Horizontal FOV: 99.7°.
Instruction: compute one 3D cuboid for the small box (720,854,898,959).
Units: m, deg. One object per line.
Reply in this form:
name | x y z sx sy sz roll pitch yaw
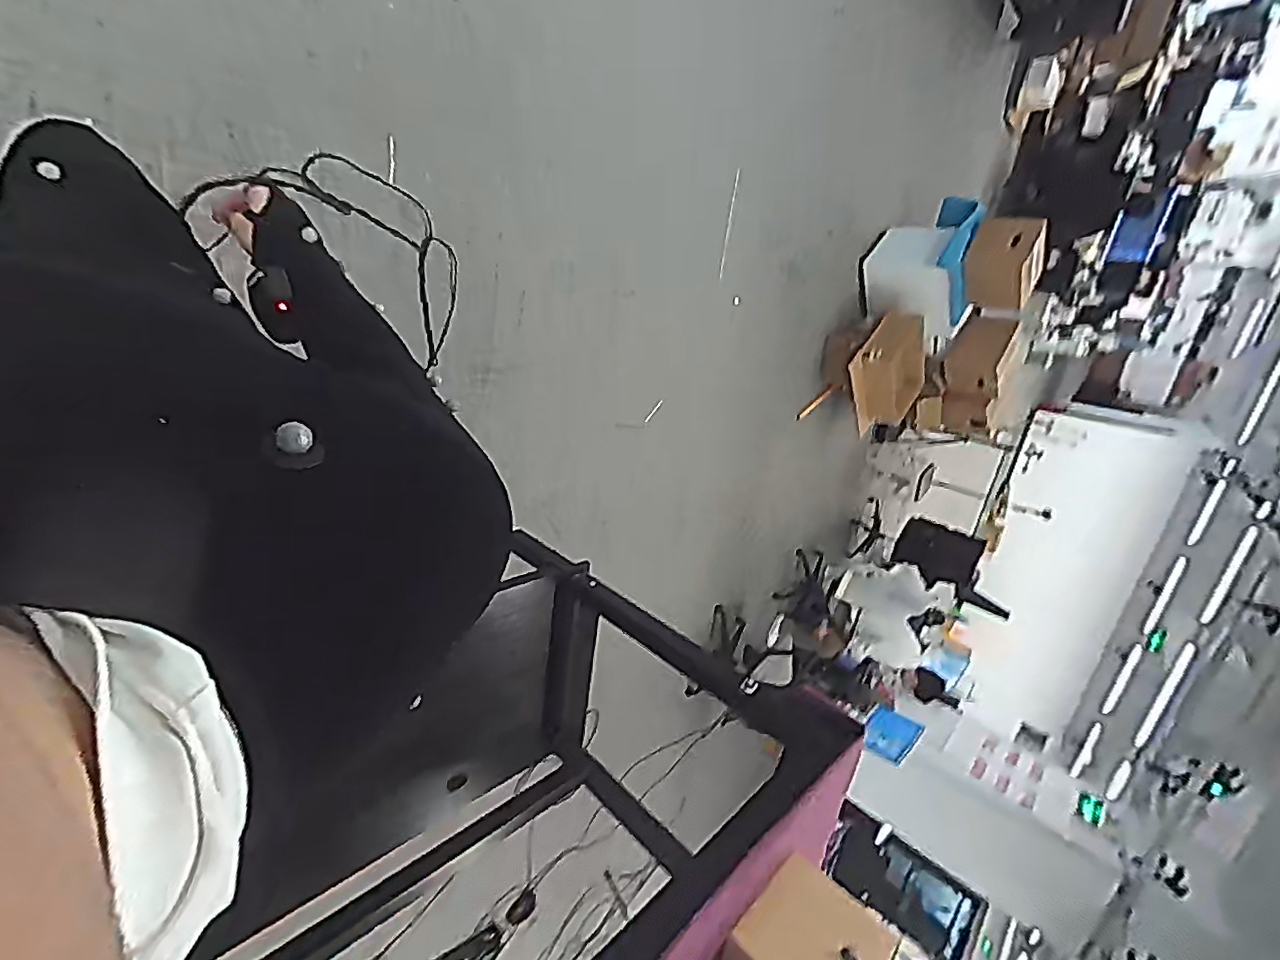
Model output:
small box | 0.221 0.676 0.745 0.179 0.176 0.168 -14 118 -44
